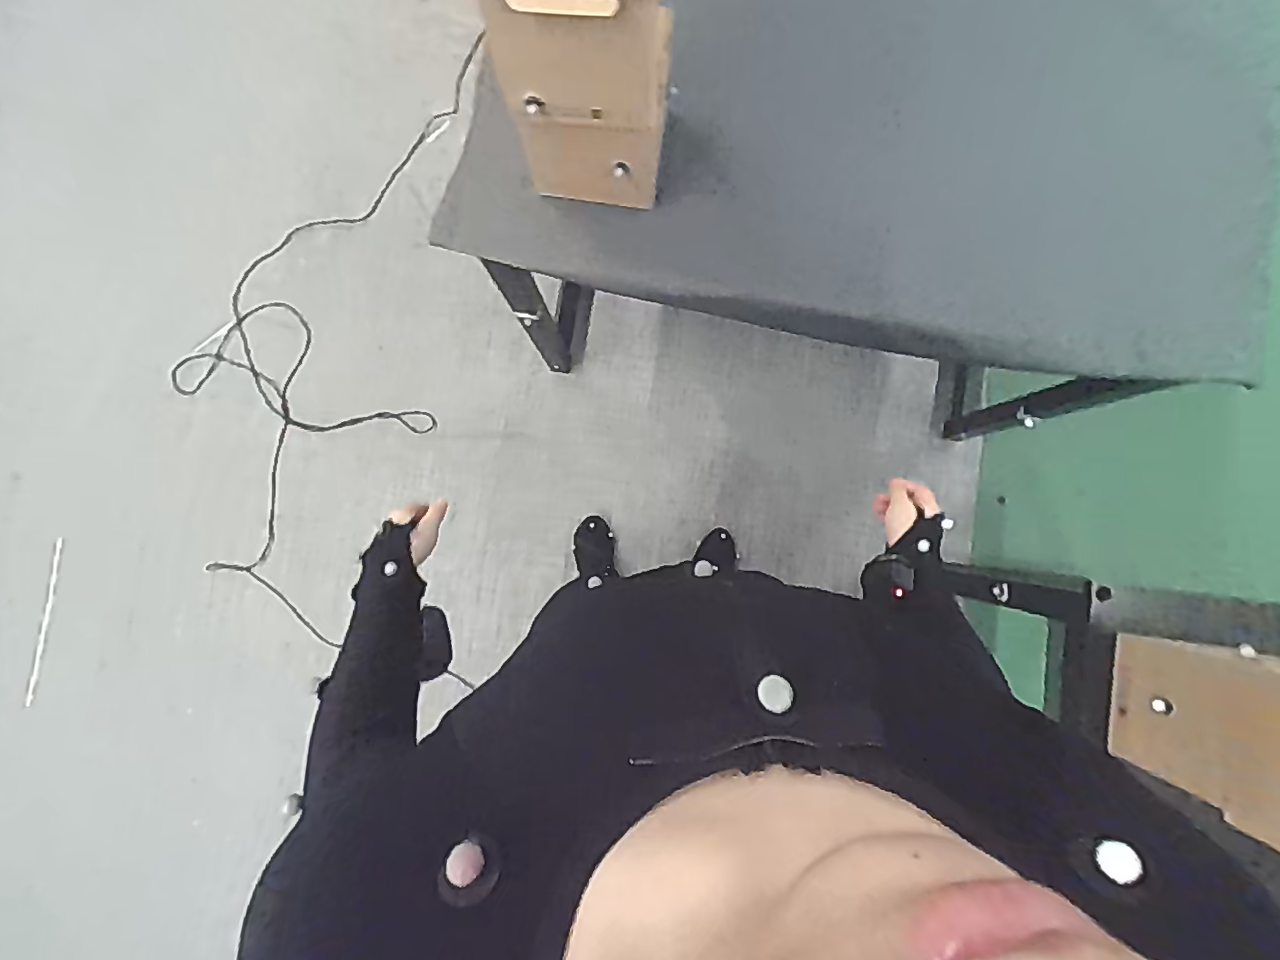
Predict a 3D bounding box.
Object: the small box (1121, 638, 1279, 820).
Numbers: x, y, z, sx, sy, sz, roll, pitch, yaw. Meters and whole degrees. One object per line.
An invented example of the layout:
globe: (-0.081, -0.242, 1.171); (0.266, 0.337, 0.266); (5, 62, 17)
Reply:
small box: (0.745, 0.300, 0.660); (0.179, 0.176, 0.168); (8, 87, 2)

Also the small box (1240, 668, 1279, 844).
small box: (0.725, 0.293, 0.498); (0.168, 0.176, 0.179); (8, 86, 2)

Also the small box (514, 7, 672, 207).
small box: (-0.055, -0.501, 0.738); (0.179, 0.176, 0.168); (8, 84, 2)

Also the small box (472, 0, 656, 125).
small box: (-0.068, -0.516, 0.574); (0.168, 0.176, 0.179); (4, 83, 1)
